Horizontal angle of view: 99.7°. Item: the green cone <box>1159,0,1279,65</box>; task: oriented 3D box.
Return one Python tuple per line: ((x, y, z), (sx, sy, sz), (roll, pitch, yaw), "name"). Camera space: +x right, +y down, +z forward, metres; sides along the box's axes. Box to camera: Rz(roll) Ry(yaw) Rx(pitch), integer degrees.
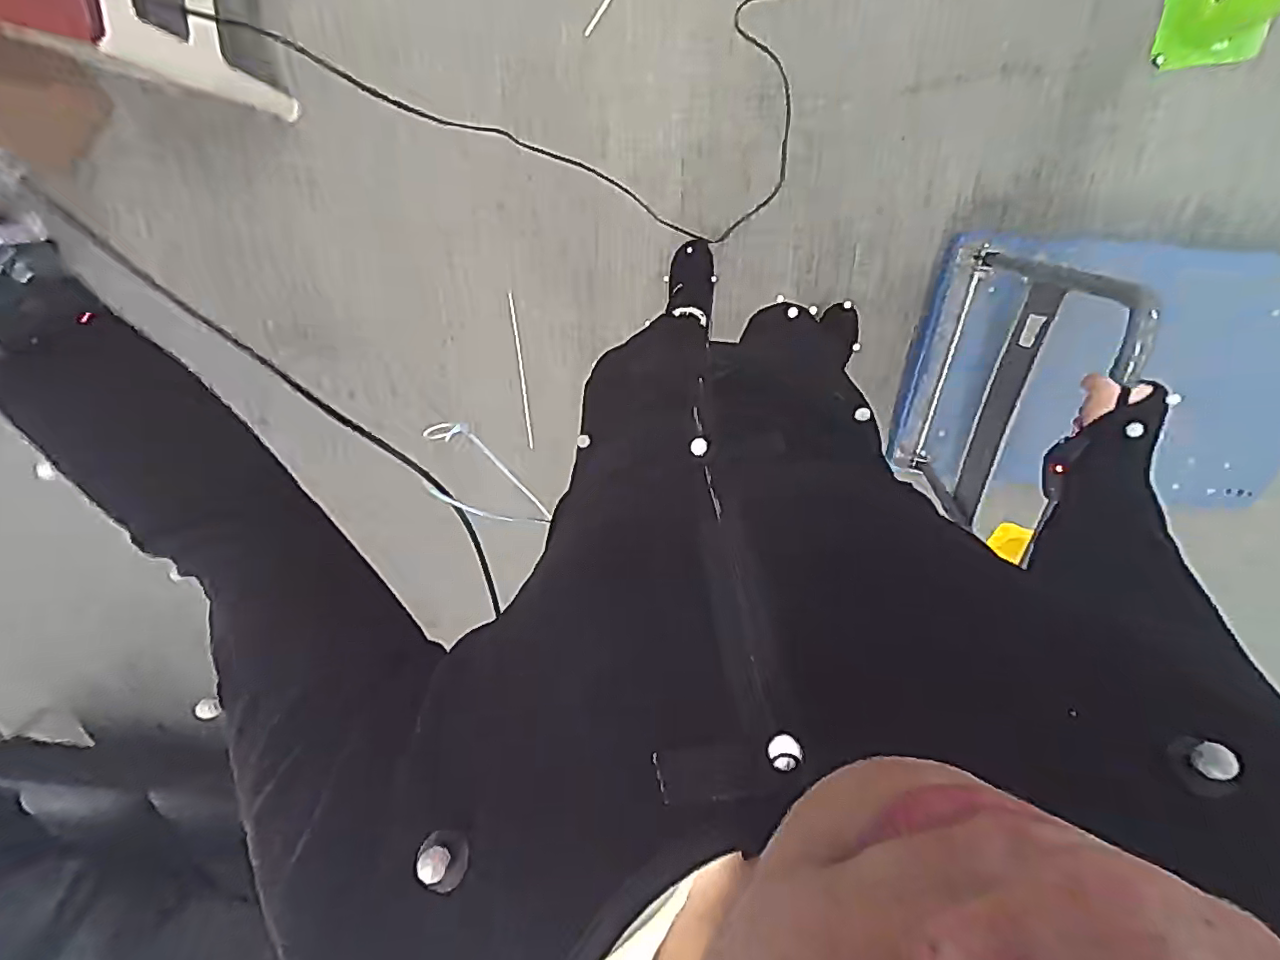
((1.129, -0.877, 0.907), (0.200, 0.368, 0.202), (-1, 114, 10), "green cone")
